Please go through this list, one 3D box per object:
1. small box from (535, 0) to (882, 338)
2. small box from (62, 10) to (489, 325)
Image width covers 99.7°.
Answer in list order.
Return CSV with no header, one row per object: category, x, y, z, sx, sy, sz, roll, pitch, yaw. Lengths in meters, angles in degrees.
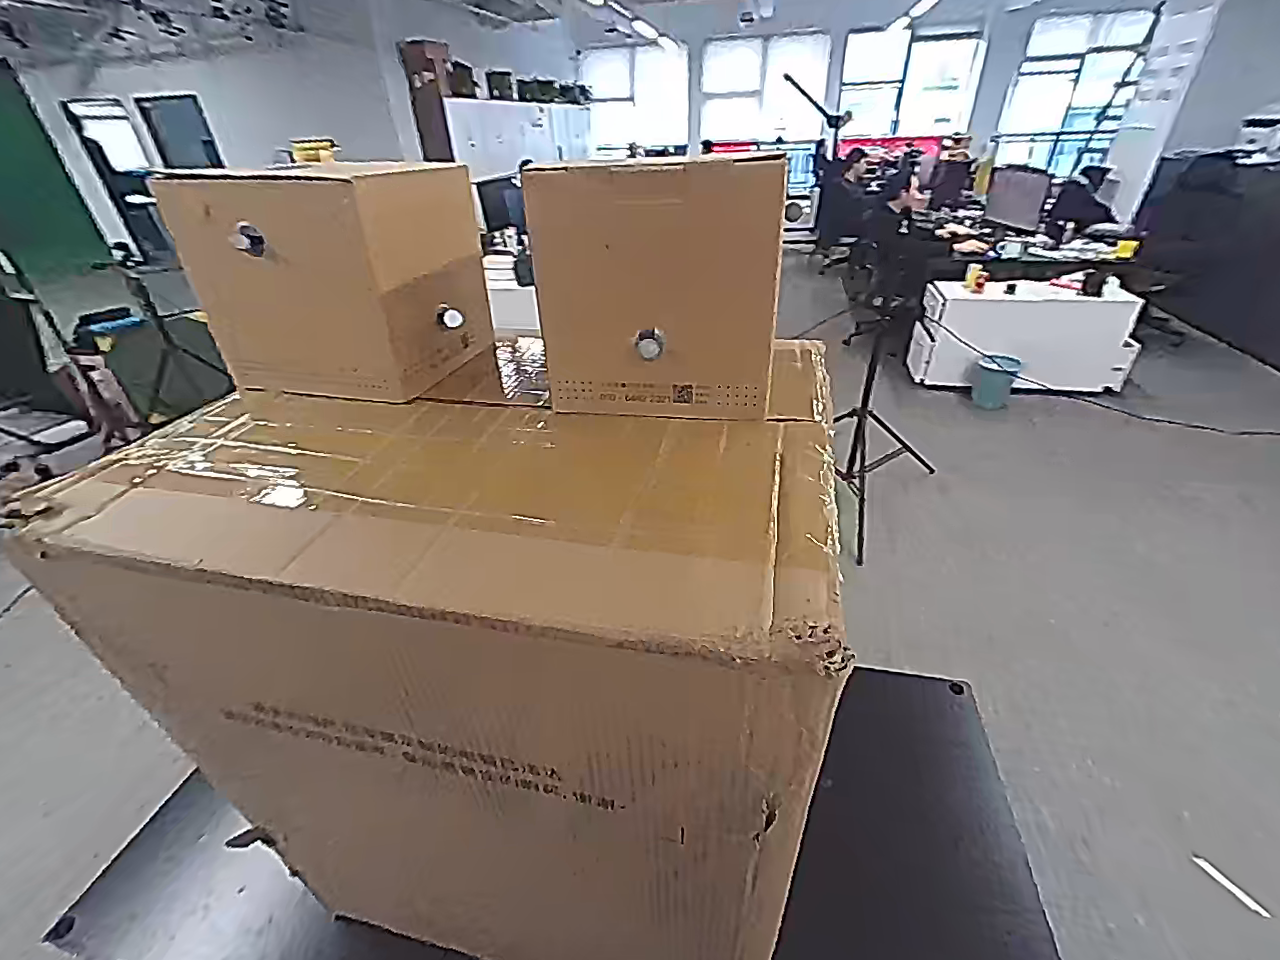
small box,0.046,-0.203,0.358,0.168,0.176,0.179,3,32,11
small box,-0.236,-0.221,0.404,0.179,0.176,0.168,7,34,11
